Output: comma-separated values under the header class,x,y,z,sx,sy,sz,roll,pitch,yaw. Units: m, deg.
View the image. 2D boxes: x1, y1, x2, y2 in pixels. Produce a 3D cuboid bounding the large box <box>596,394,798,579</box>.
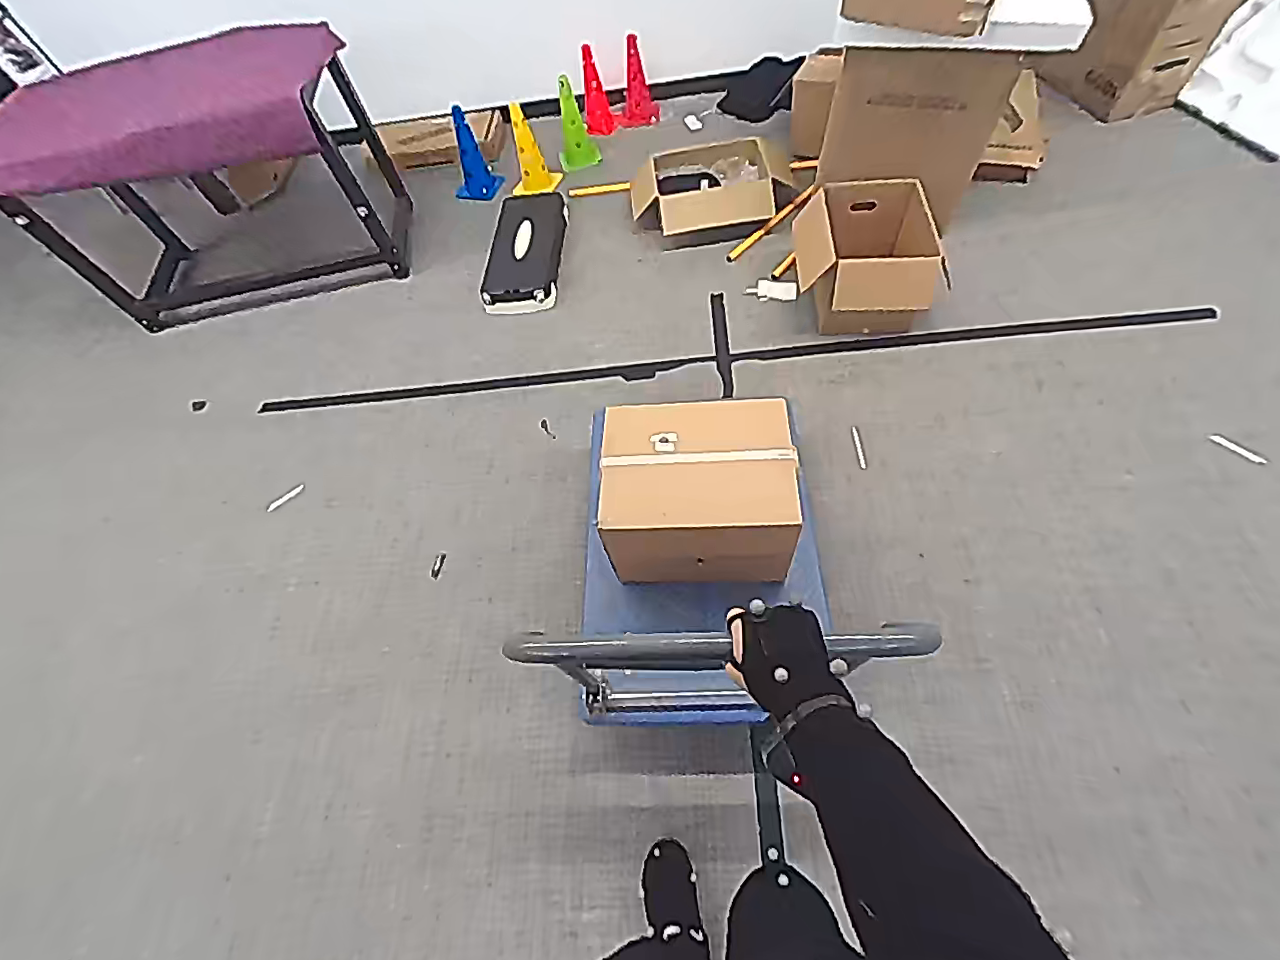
class,x,y,z,sx,sy,sz,roll,pitch,yaw
large box,0.131,0.029,1.260,0.408,0.320,0.320,-3,58,7
